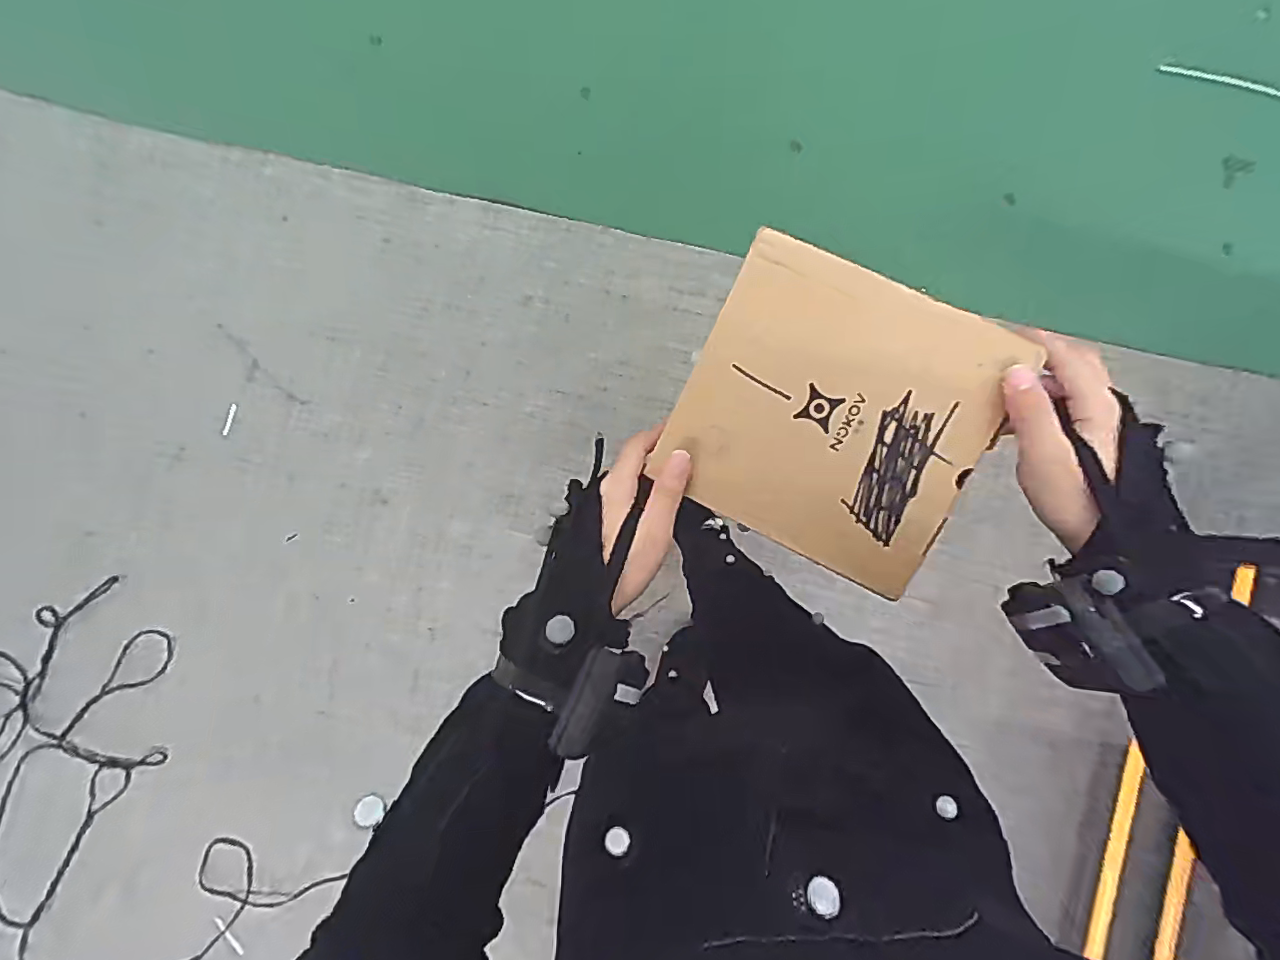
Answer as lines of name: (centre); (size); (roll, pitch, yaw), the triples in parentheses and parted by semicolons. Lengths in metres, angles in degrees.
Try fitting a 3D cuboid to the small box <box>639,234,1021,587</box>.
small box: (0.123, -0.050, 0.410); (0.179, 0.176, 0.168); (27, 100, 6)
